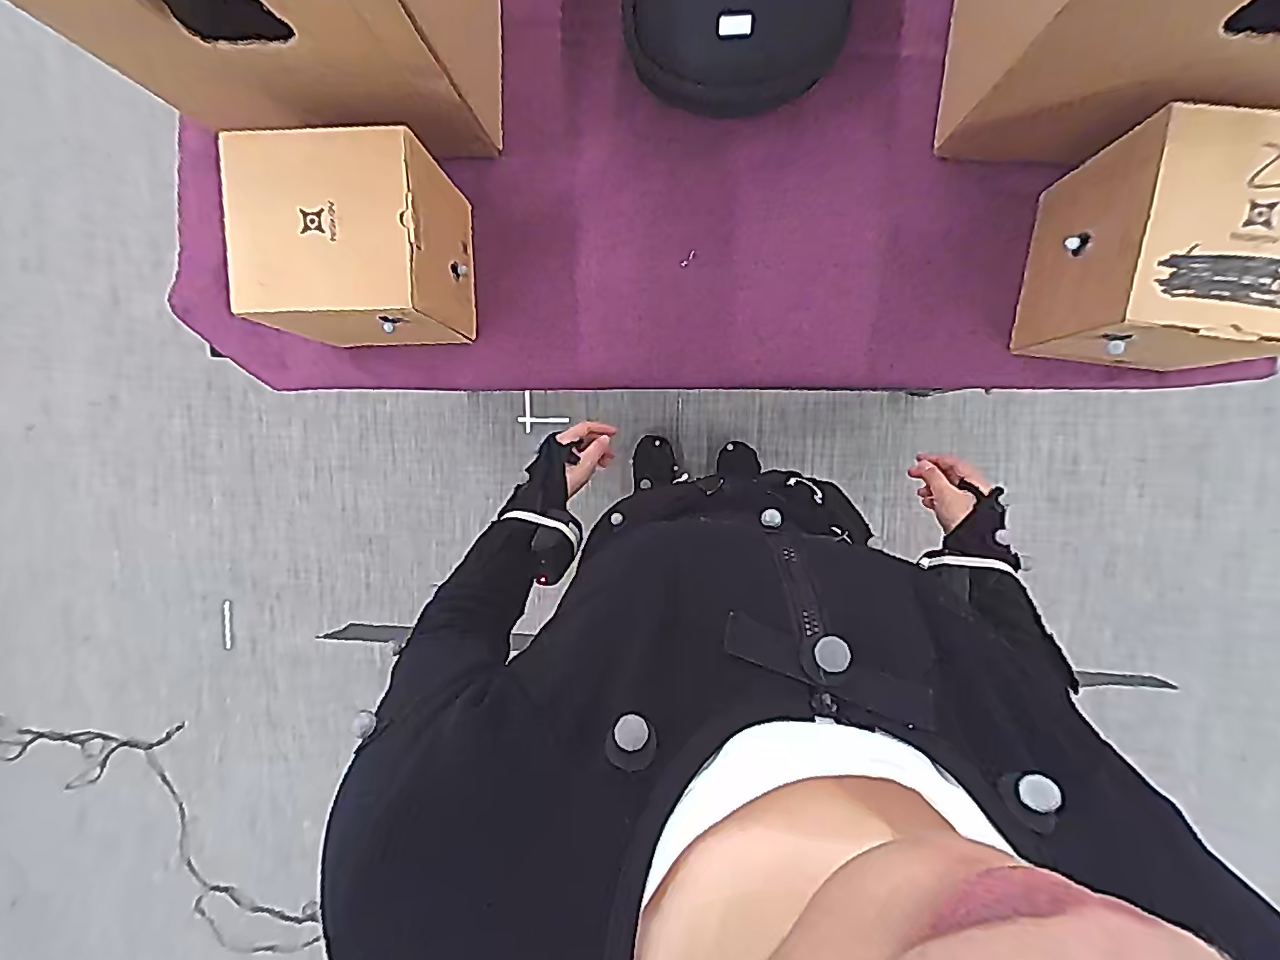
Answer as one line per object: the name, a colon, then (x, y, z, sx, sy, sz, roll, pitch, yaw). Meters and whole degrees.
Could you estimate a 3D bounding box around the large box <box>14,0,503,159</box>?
large box: (-0.322, -0.572, 0.488, 0.320, 0.320, 0.408, 1, 98, 4)
